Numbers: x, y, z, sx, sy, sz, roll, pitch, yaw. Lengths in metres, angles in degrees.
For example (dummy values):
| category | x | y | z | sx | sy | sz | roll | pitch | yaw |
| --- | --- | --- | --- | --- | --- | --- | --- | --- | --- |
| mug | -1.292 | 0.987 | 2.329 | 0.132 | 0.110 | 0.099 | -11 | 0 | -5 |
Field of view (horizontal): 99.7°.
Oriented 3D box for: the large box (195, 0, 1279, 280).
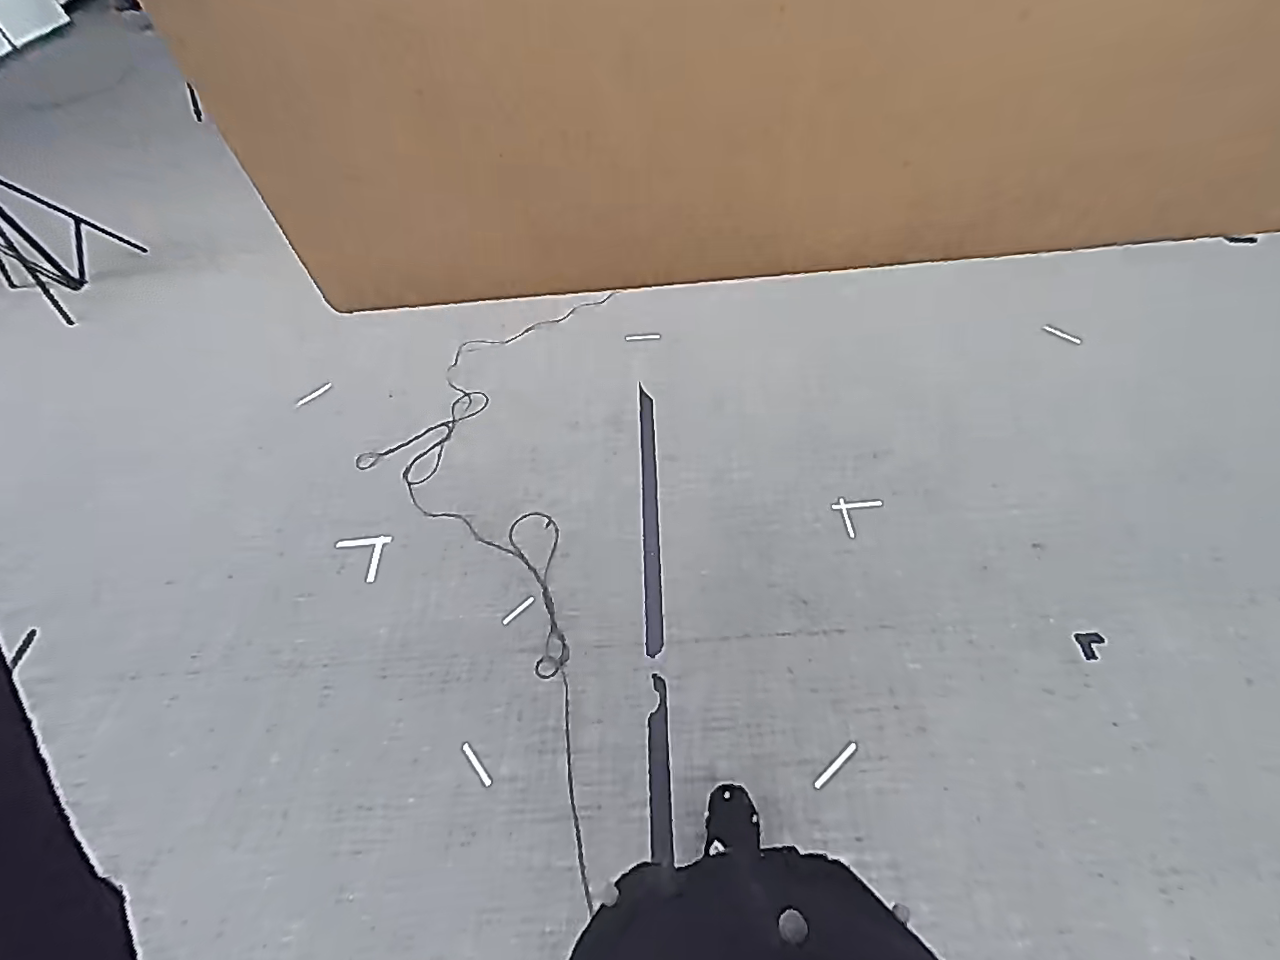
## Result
| category | x | y | z | sx | sy | sz | roll | pitch | yaw |
| --- | --- | --- | --- | --- | --- | --- | --- | --- | --- |
| large box | 0.055 | -0.305 | 0.194 | 0.408 | 0.320 | 0.320 | -5 | 54 | 0 |
